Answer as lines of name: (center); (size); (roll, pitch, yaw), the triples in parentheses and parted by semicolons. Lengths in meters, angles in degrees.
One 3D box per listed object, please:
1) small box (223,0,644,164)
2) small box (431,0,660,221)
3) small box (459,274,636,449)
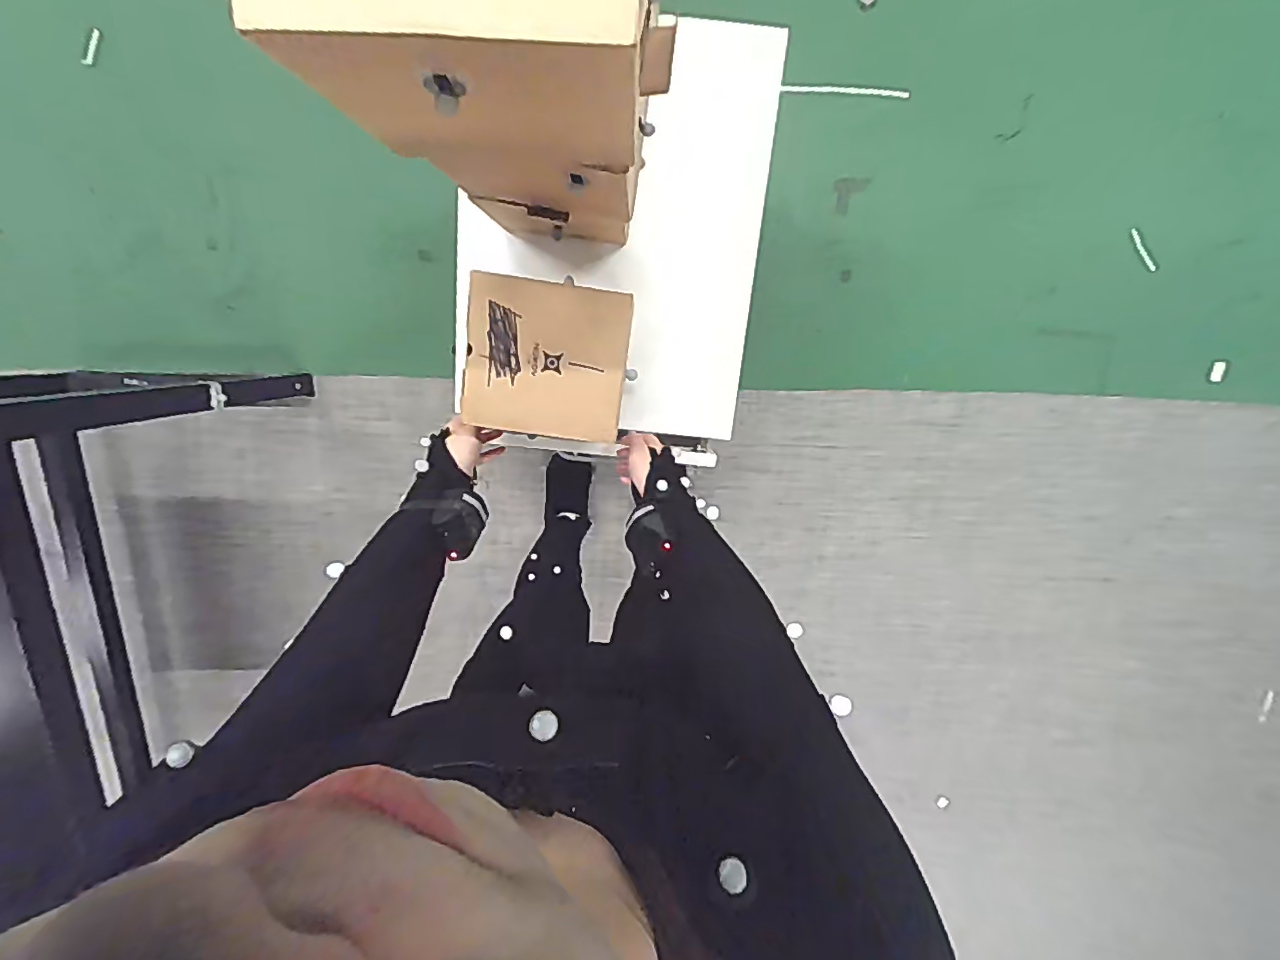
small box: (-0.085, -0.284, 0.286); (0.179, 0.176, 0.168); (1, 105, -2)
small box: (-0.082, -0.328, 0.444); (0.179, 0.176, 0.168); (8, 103, -3)
small box: (-0.102, -0.140, 0.655); (0.179, 0.176, 0.168); (7, 103, -3)
